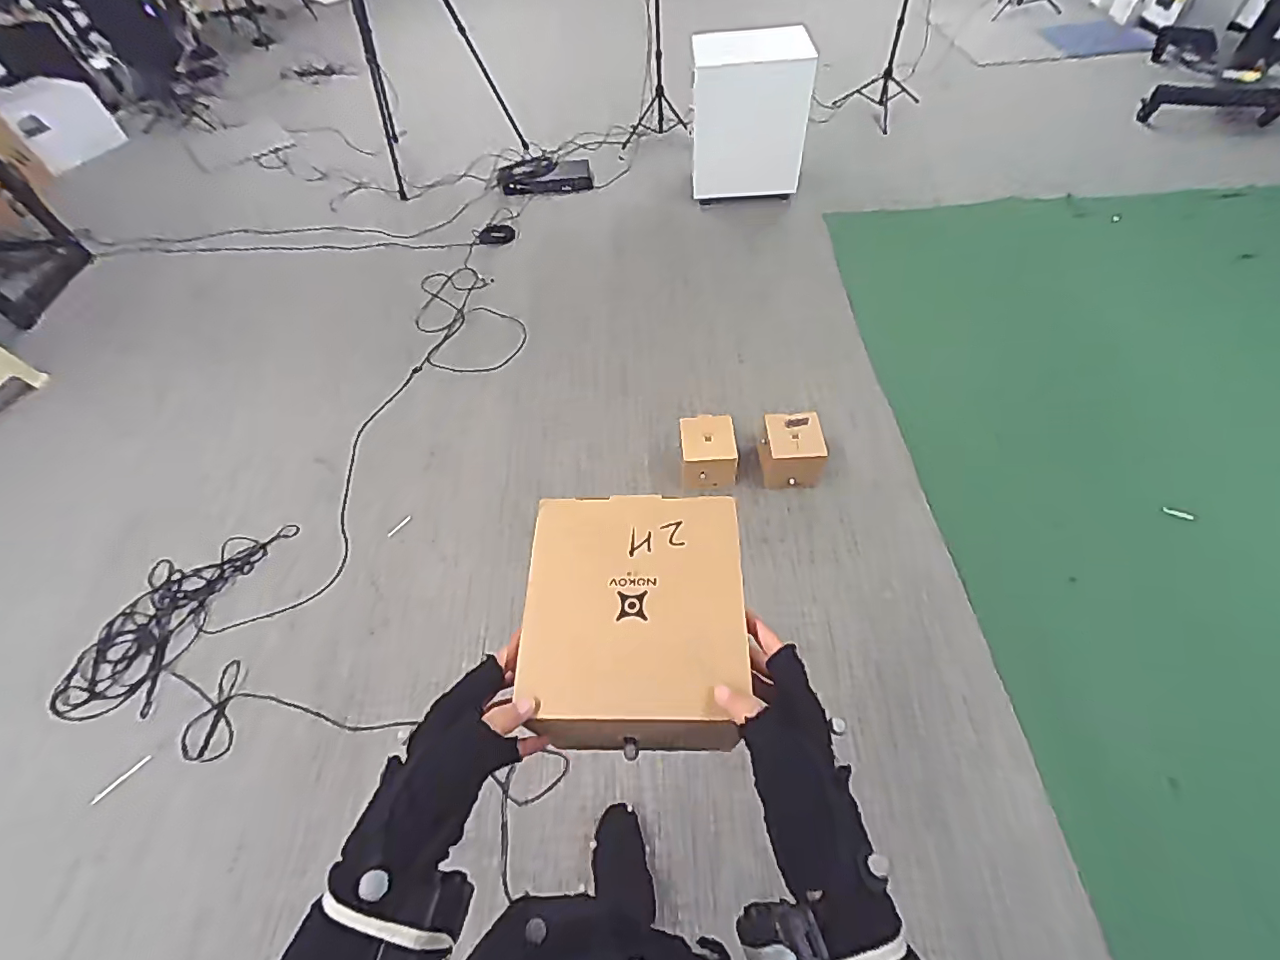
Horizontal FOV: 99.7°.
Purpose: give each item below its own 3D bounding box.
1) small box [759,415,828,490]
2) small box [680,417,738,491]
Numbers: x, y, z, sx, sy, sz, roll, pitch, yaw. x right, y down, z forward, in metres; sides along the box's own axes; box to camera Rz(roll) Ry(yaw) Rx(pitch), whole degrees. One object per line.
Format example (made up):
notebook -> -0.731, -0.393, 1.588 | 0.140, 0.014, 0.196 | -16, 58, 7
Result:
small box -> 0.478, -0.086, 1.713 | 0.168, 0.176, 0.179 | -3, 55, 2
small box -> 0.215, -0.077, 1.727 | 0.168, 0.176, 0.179 | -4, 54, 1
